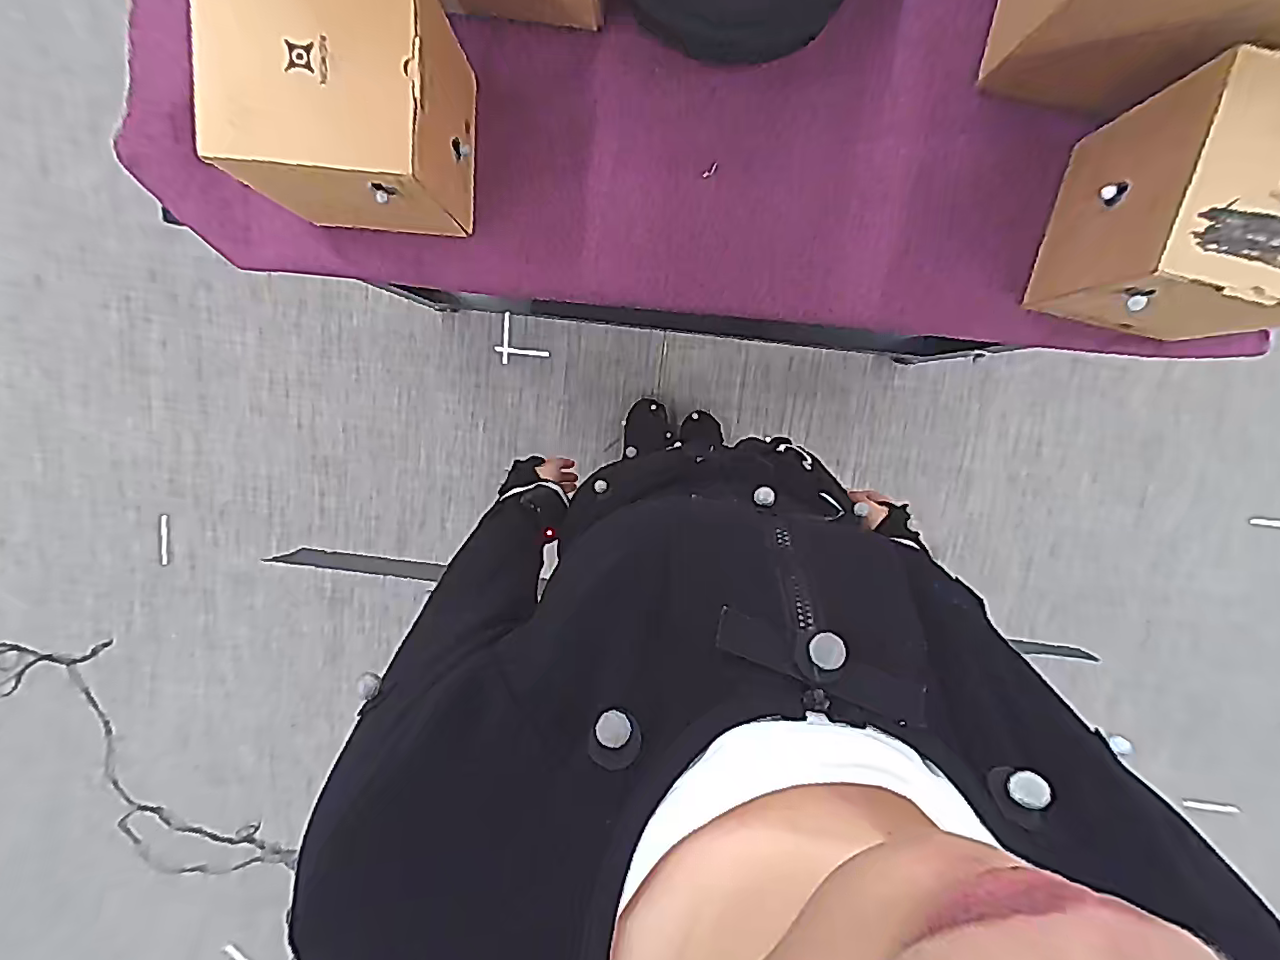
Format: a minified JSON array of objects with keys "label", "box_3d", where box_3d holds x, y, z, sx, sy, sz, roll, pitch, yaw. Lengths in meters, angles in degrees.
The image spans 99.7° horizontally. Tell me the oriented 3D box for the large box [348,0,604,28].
[{"label":"large box","box_3d":[-0.173,-0.664,0.396,0.320,0.320,0.408,6,102,0]}]
